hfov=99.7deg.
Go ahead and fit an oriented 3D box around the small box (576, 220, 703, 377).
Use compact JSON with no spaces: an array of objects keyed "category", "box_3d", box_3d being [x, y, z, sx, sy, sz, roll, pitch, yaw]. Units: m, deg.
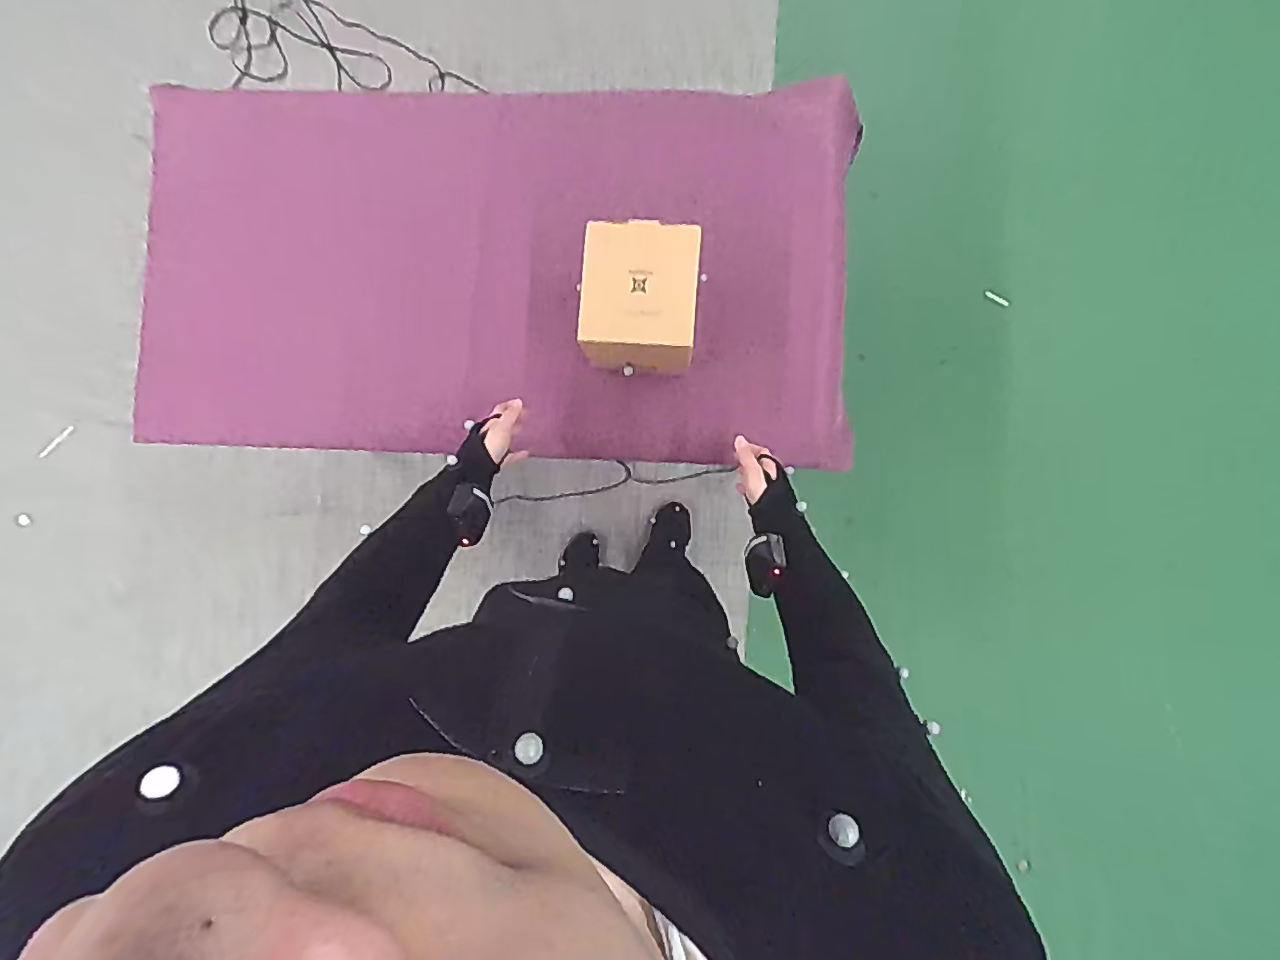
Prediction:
[{"category":"small box","box_3d":[0.003,-0.271,0.835,0.168,0.176,0.179,5,87,4]}]
